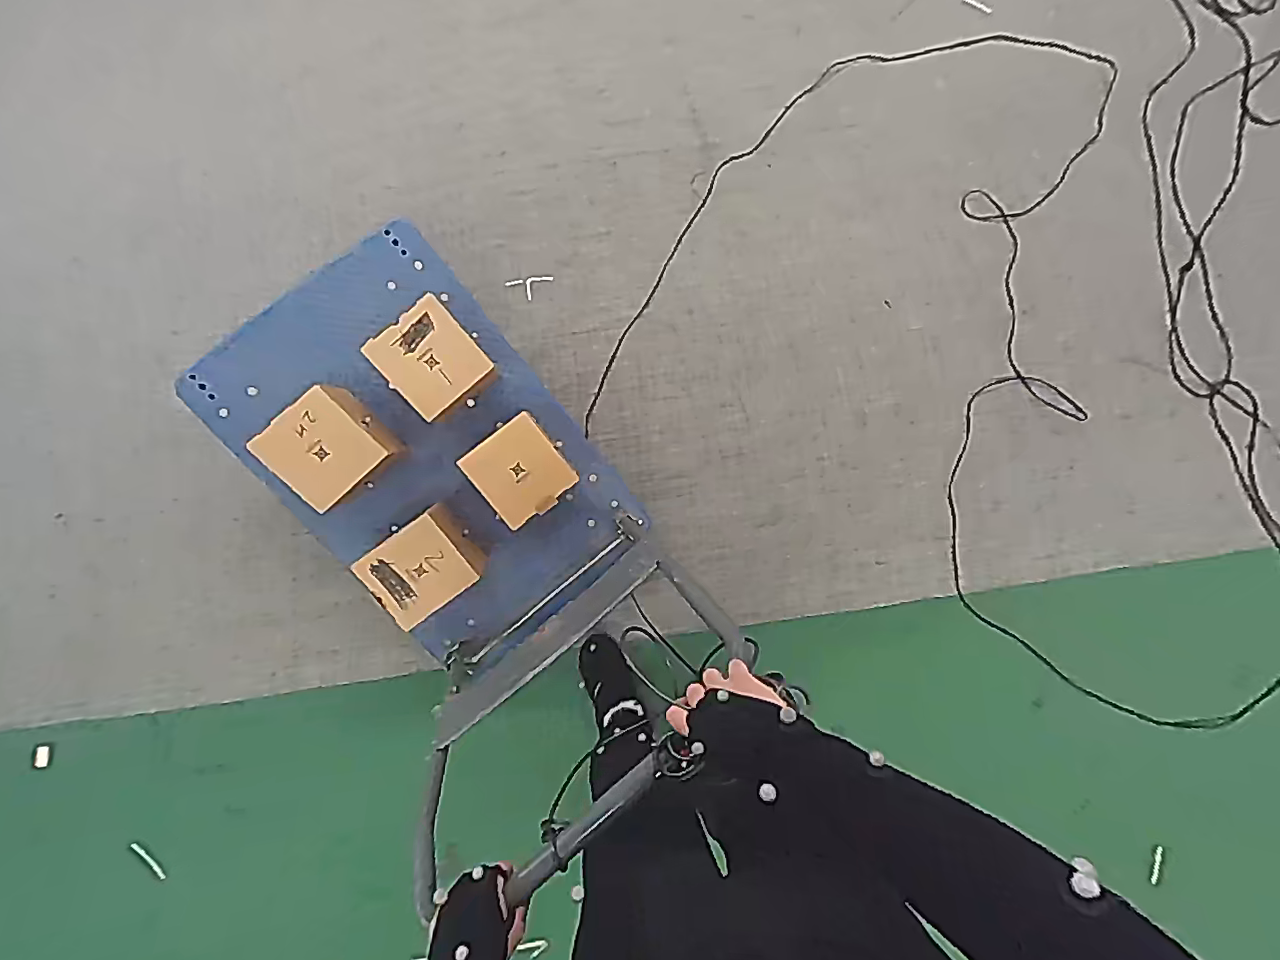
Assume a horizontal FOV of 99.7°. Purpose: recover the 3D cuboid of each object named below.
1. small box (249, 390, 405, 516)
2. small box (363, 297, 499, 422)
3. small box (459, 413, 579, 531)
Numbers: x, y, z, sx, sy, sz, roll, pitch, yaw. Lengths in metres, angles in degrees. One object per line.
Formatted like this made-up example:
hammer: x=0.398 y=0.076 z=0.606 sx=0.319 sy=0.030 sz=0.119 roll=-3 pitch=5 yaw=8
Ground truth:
small box: x=-0.594 y=-0.057 z=1.057 sx=0.168 sy=0.176 sz=0.179 roll=-44 pitch=101 yaw=-5
small box: x=-0.403 y=-0.228 z=1.075 sx=0.168 sy=0.176 sz=0.179 roll=-41 pitch=102 yaw=-3
small box: x=-0.248 y=-0.021 z=1.125 sx=0.168 sy=0.176 sz=0.179 roll=-39 pitch=102 yaw=-4
